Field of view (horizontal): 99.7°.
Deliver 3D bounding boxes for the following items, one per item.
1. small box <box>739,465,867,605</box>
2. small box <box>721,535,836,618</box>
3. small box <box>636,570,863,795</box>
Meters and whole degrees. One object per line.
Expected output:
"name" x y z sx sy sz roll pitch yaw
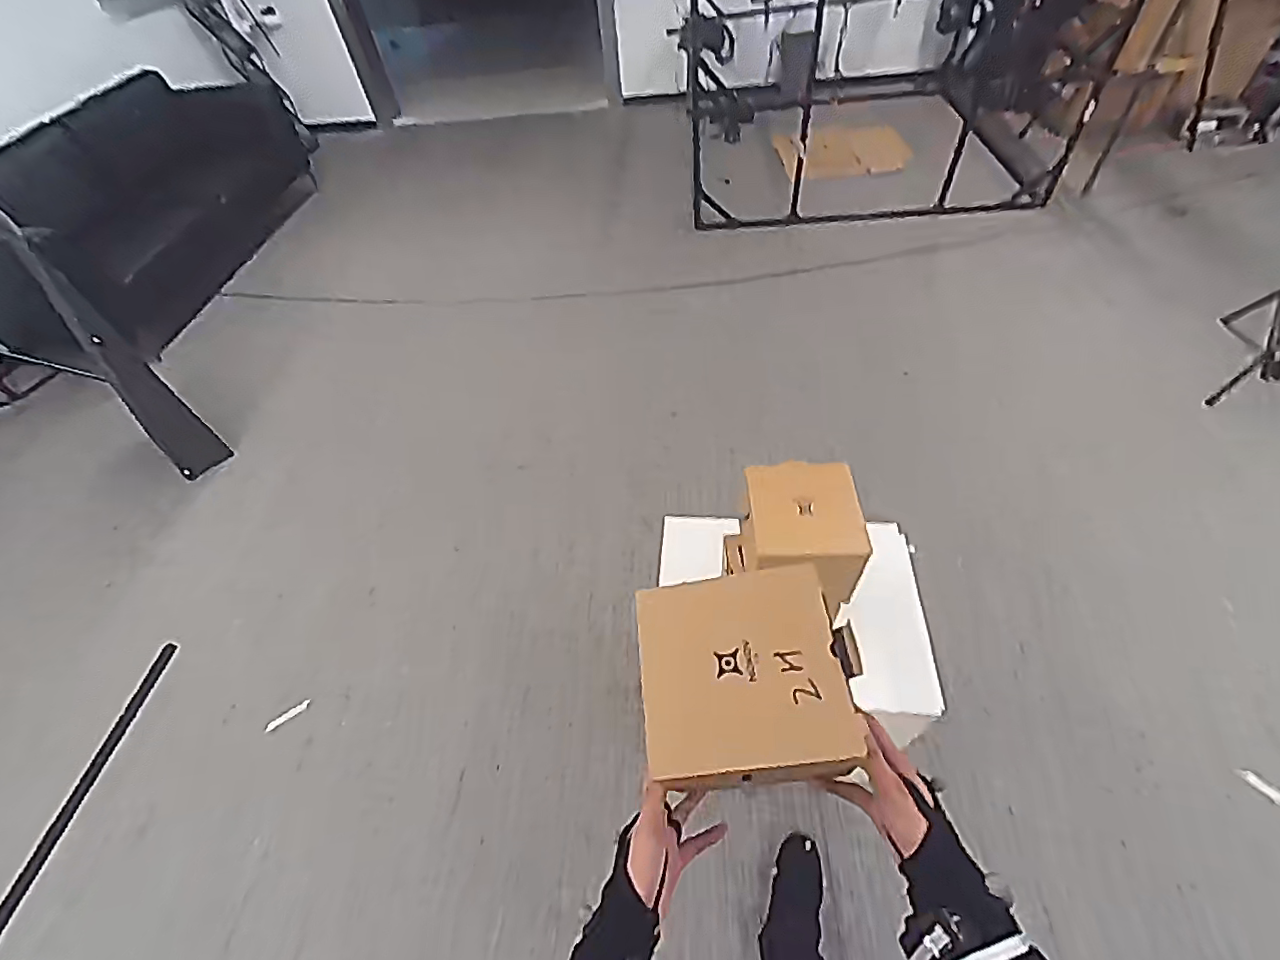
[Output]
"small box" 0.257 0.097 0.896 0.168 0.176 0.179 -2 49 4
"small box" 0.247 0.212 1.013 0.179 0.176 0.168 -4 50 2
"small box" 0.102 0.209 0.538 0.179 0.176 0.168 -10 56 8
